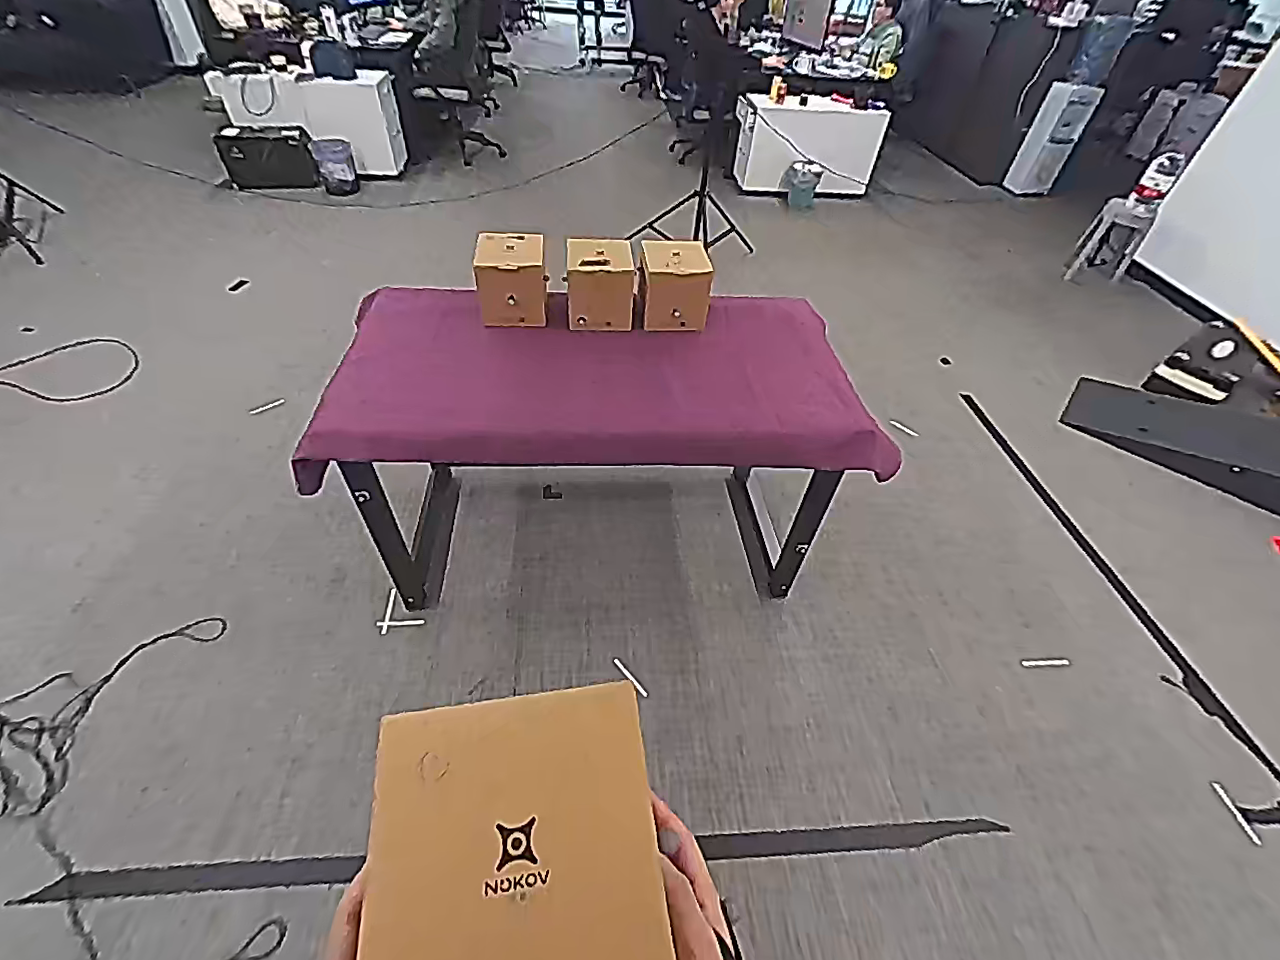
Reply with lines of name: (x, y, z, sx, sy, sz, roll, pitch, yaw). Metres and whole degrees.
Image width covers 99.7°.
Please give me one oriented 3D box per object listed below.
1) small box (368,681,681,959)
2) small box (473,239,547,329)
small box: (-0.075, 0.262, 0.380, 0.168, 0.176, 0.179, -5, 56, -9)
small box: (-0.331, -0.509, 1.413, 0.168, 0.176, 0.179, -2, 49, -6)
